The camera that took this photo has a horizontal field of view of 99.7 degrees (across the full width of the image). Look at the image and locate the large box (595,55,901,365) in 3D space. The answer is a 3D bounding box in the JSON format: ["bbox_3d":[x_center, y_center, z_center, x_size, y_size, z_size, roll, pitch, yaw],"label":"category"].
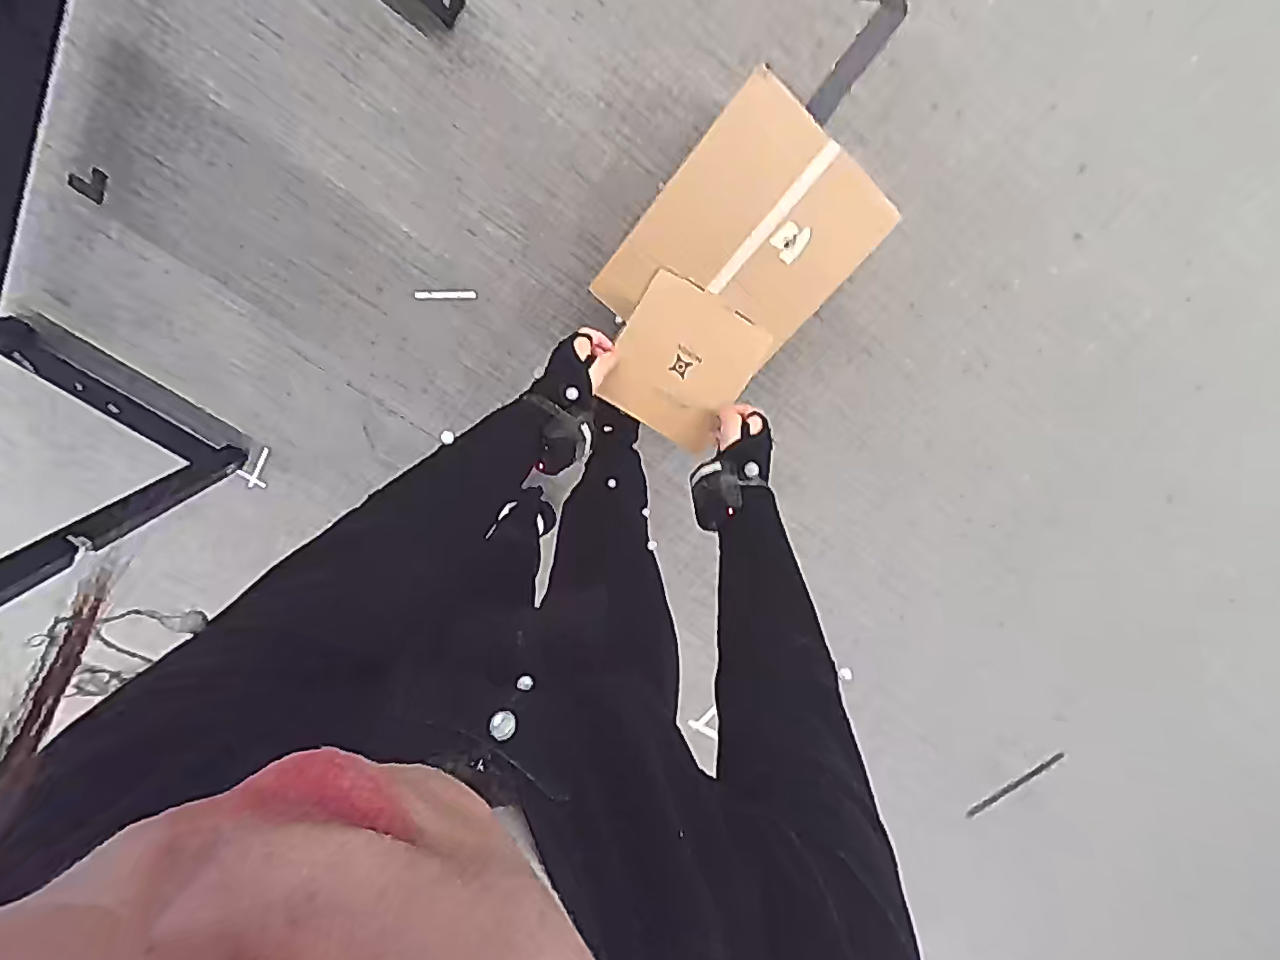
[{"bbox_3d":[0.168,-0.430,0.994,0.320,0.320,0.408,38,110,-15],"label":"large box"}]

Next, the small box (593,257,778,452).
[{"bbox_3d":[0.048,-0.166,0.724,0.168,0.176,0.179,31,101,-10],"label":"small box"}]
